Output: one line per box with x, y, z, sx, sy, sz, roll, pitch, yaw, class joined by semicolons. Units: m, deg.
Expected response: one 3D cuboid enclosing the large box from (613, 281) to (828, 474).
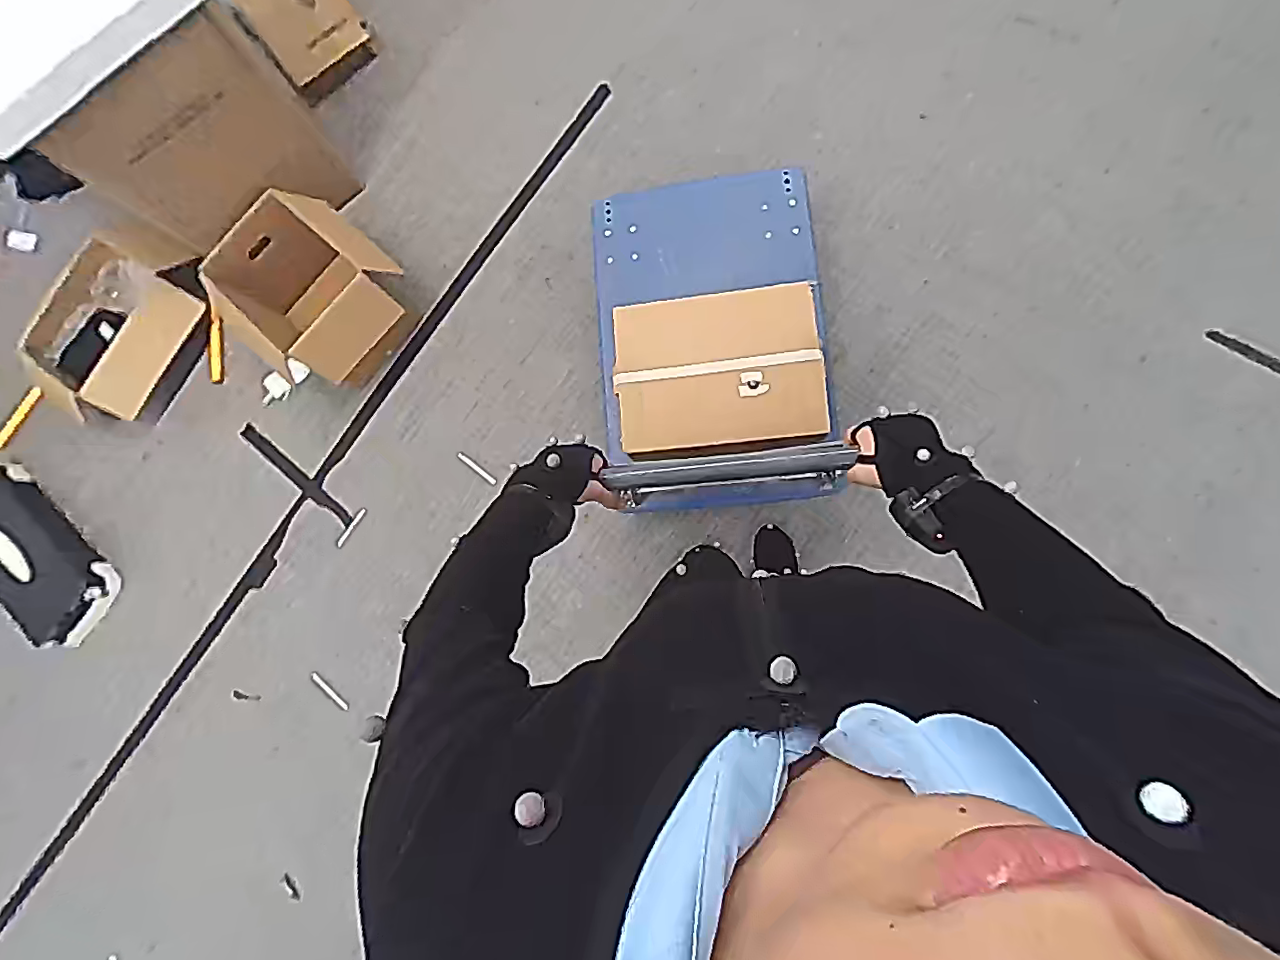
0.171;-0.206;1.227;0.408;0.320;0.320;-6;83;7;large box
